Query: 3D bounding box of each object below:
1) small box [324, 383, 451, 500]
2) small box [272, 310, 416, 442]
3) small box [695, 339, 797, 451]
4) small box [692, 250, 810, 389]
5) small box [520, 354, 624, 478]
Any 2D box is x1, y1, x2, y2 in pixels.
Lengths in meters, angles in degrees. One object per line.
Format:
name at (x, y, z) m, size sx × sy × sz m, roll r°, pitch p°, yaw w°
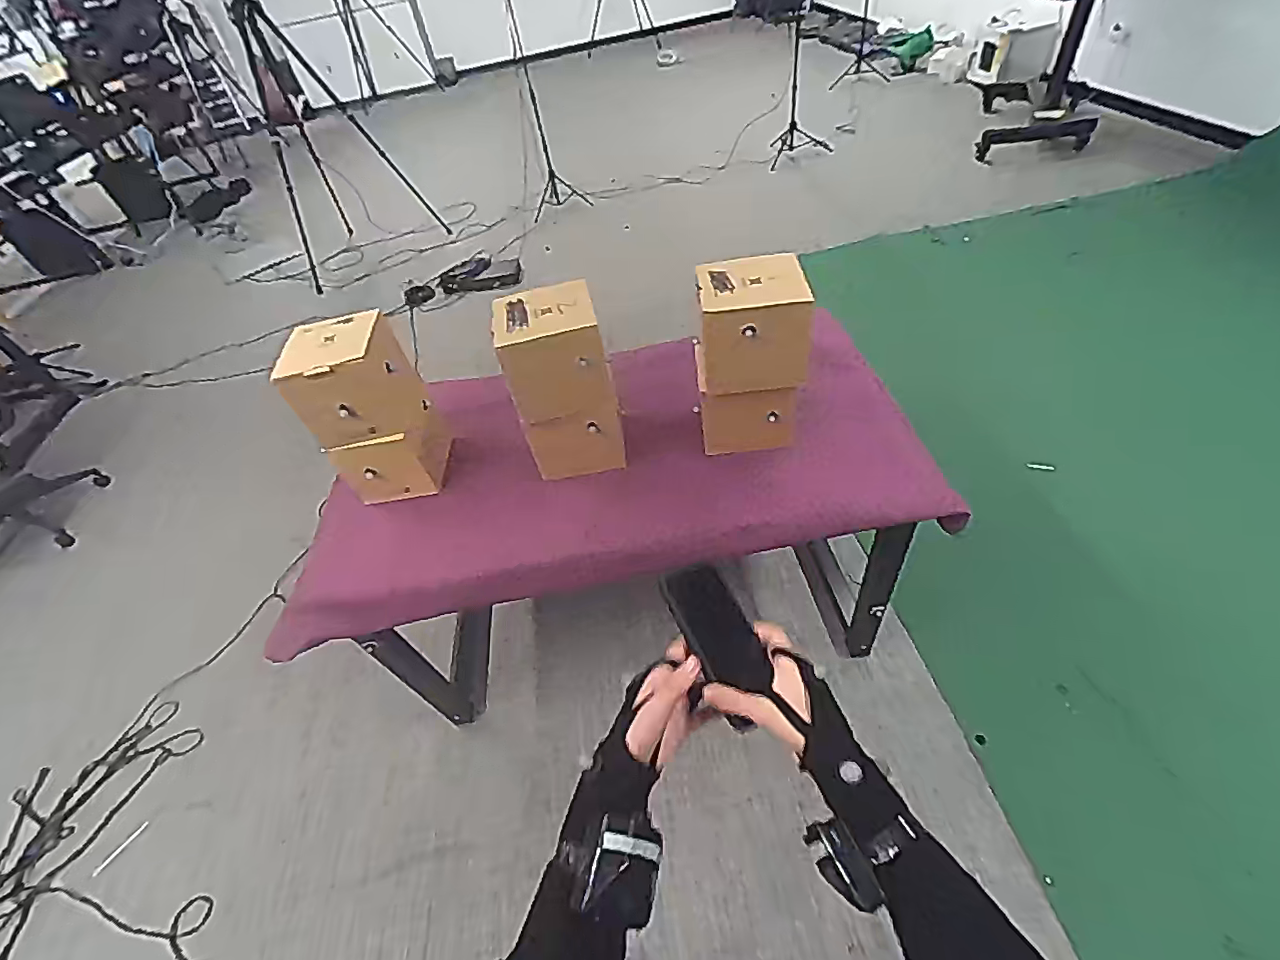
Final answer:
small box at (-0.517, -0.073, 1.137) m, size 0.168 × 0.176 × 0.179 m, roll -10°, pitch 47°, yaw 3°
small box at (-0.543, -0.189, 1.023) m, size 0.168 × 0.176 × 0.179 m, roll -13°, pitch 47°, yaw -1°
small box at (0.206, -0.176, 1.076) m, size 0.179 × 0.176 × 0.168 m, roll -6°, pitch 47°, yaw 8°
small box at (0.190, -0.276, 0.947) m, size 0.179 × 0.176 × 0.168 m, roll -5°, pitch 47°, yaw 6°
small box at (-0.131, -0.127, 1.102) m, size 0.179 × 0.176 × 0.168 m, roll -10°, pitch 47°, yaw 3°
